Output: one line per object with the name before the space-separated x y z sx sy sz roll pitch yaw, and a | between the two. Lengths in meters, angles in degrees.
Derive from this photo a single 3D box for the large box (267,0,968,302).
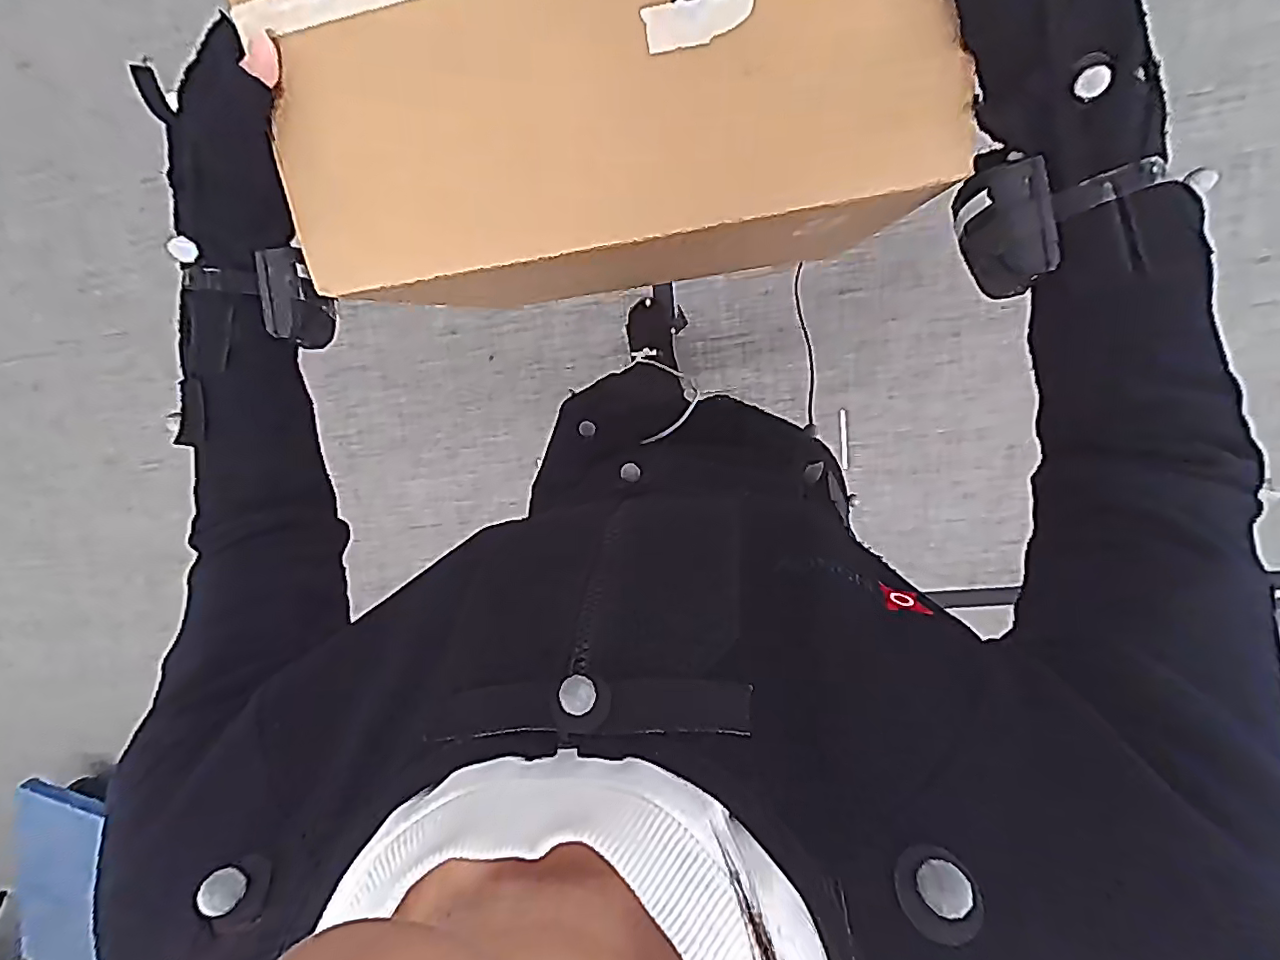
large box | -0.015 -0.343 0.442 0.408 0.320 0.320 -6 106 10
